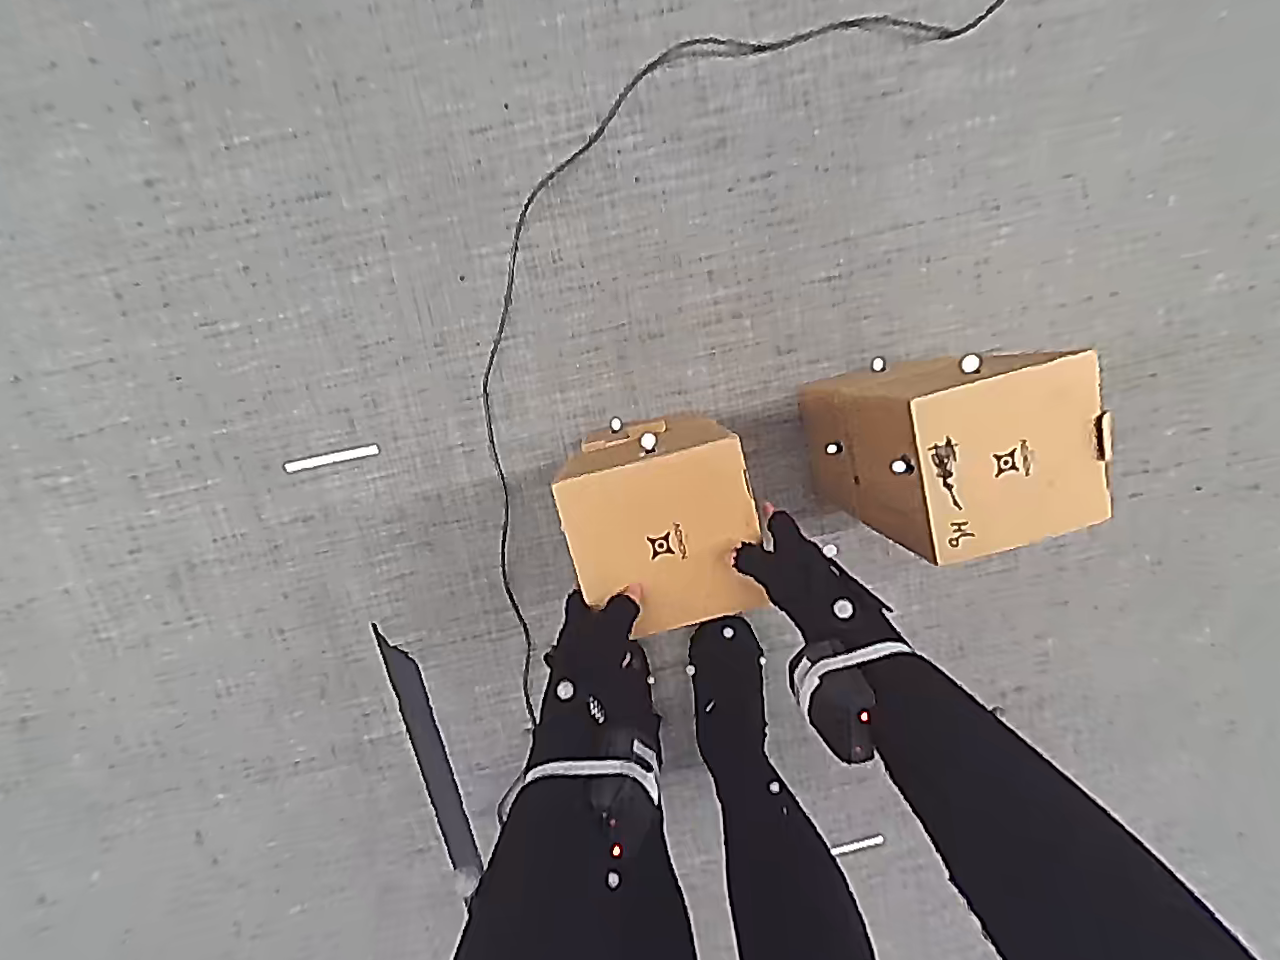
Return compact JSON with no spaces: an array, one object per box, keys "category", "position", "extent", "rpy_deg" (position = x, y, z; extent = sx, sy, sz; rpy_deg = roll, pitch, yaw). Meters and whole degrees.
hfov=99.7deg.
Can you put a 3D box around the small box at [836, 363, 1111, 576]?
[{"category":"small box","position":[0.336,-0.023,0.570],"extent":[0.179,0.176,0.168],"rpy_deg":[-15,101,-1]}]

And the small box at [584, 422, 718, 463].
[{"category":"small box","position":[0.022,0.020,0.732],"extent":[0.168,0.176,0.179],"rpy_deg":[-11,102,0]}]

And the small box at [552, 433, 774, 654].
[{"category":"small box","position":[0.021,0.053,0.573],"extent":[0.179,0.176,0.168],"rpy_deg":[-15,101,0]}]

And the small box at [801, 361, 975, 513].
[{"category":"small box","position":[0.334,-0.053,0.733],"extent":[0.168,0.176,0.179],"rpy_deg":[-15,102,0]}]
